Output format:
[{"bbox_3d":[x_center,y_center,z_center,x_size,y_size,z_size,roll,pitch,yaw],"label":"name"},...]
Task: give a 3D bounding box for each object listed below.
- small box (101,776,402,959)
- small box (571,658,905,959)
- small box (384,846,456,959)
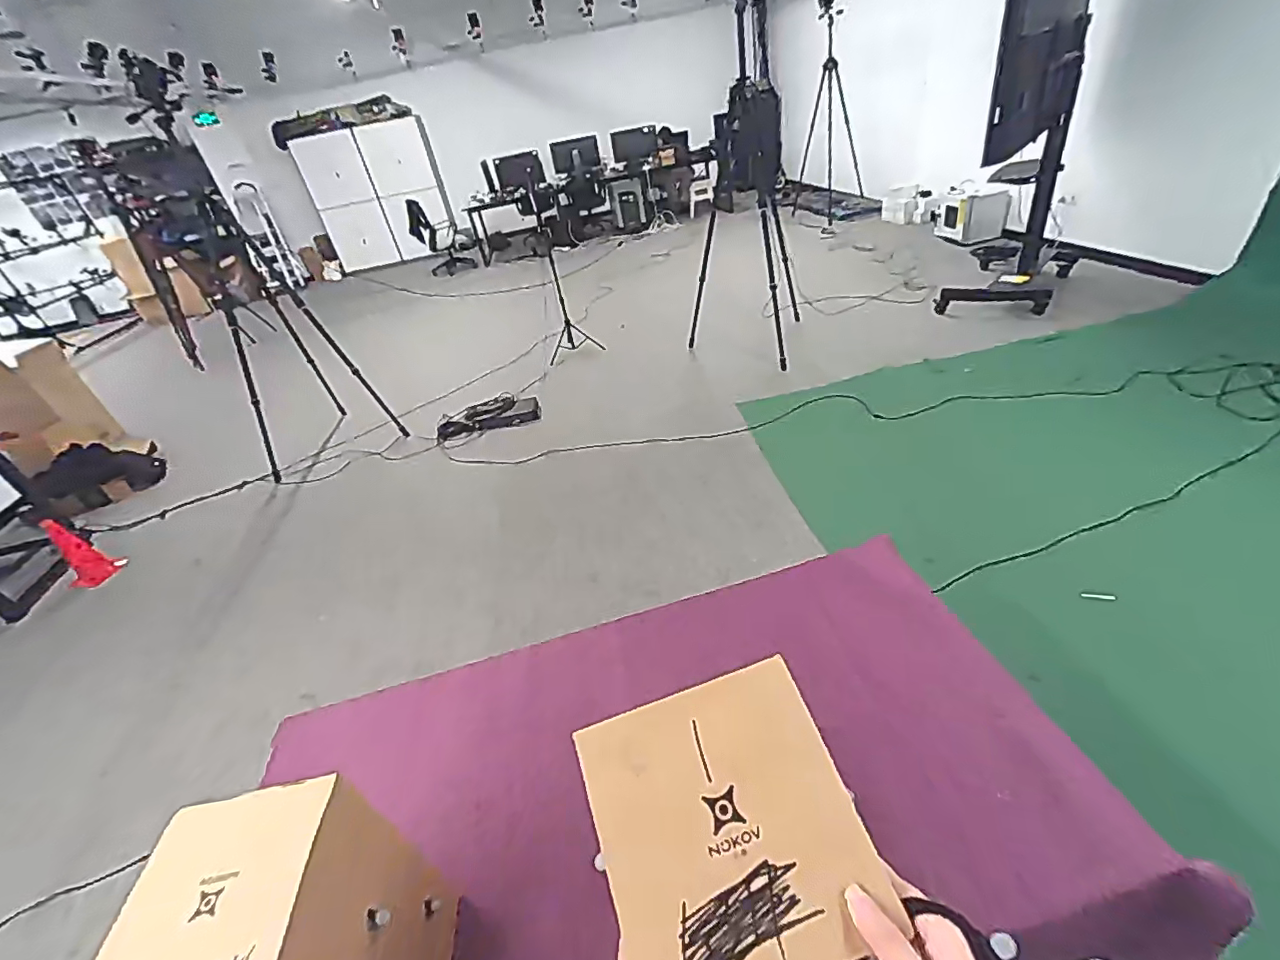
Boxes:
[{"bbox_3d":[-0.354,0.429,0.519,0.168,0.176,0.179,-14,33,0],"label":"small box"},{"bbox_3d":[0.060,0.267,0.417,0.168,0.176,0.179,-18,57,-7],"label":"small box"},{"bbox_3d":[-0.324,0.561,0.613,0.168,0.176,0.179,-13,35,0],"label":"small box"}]
